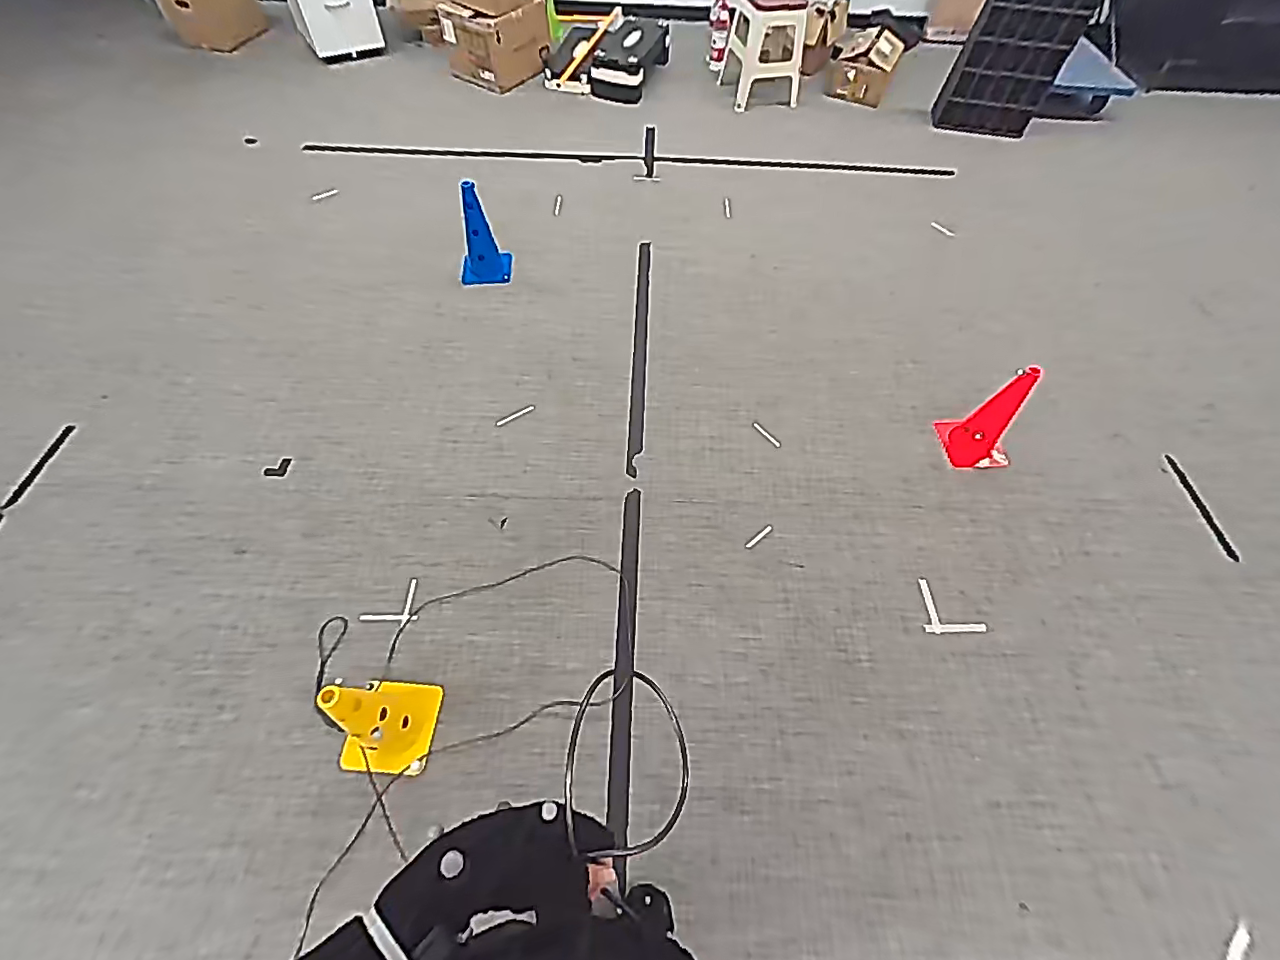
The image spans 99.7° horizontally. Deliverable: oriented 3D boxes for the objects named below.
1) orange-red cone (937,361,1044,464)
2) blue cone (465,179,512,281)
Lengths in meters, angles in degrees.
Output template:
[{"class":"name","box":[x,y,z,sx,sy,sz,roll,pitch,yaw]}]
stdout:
[{"class":"orange-red cone","box":[1.129,-0.231,1.691,0.198,0.360,0.199,-1,56,-3]},{"class":"blue cone","box":[-0.627,-0.982,2.120,0.192,0.380,0.193,-2,57,-3]}]
